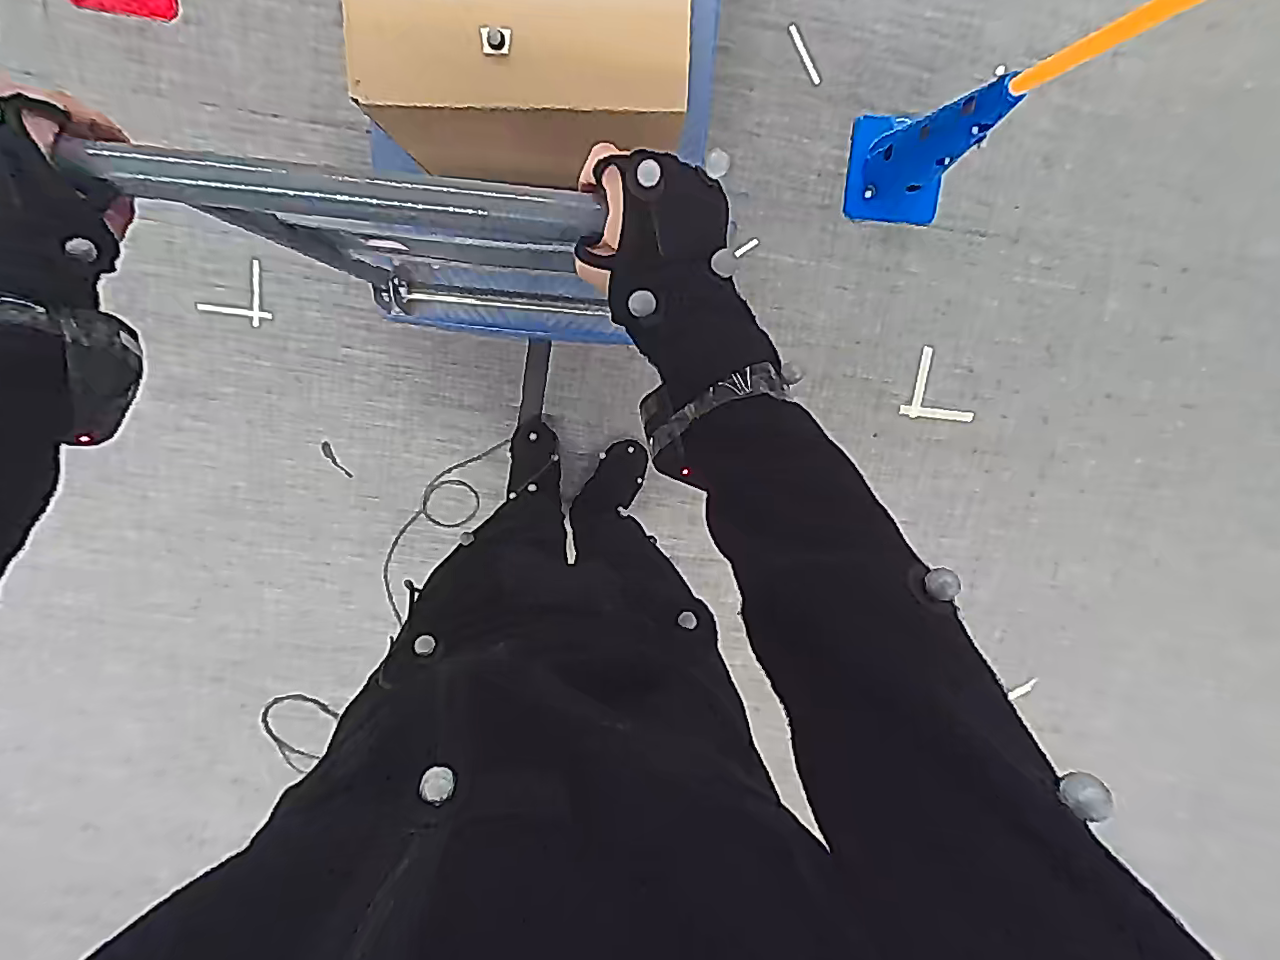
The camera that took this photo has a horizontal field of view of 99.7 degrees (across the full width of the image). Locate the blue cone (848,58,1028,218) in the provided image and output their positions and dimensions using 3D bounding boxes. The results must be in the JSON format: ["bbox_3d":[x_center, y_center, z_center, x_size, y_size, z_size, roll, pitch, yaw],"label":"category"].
[{"bbox_3d":[0.540,-0.620,0.968,0.193,0.380,0.192,4,101,-3],"label":"blue cone"}]
